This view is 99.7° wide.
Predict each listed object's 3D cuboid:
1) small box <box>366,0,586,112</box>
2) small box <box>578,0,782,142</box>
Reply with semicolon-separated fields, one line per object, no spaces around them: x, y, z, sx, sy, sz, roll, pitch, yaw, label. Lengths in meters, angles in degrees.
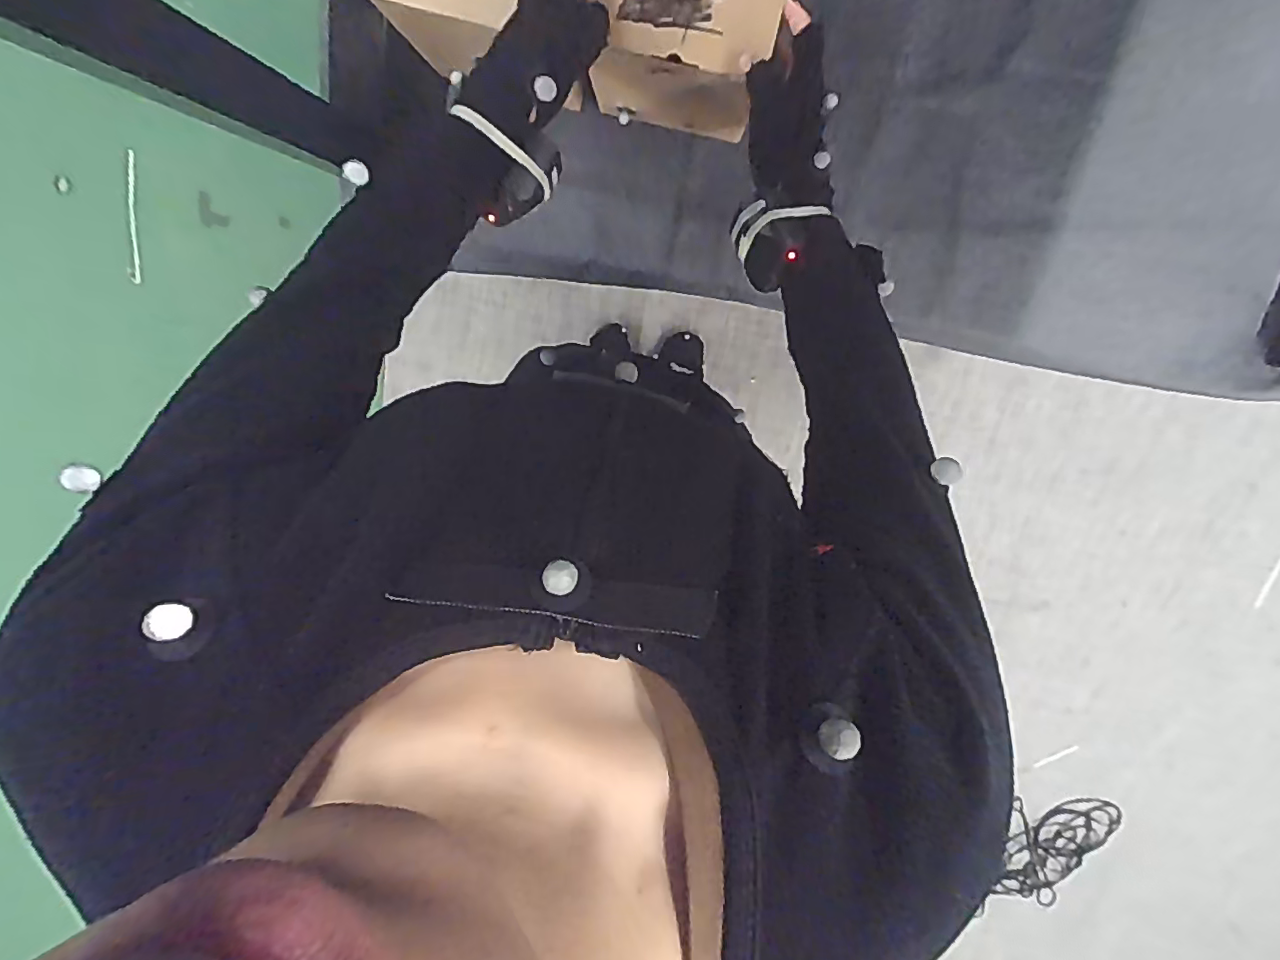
-0.132;-0.486;0.511;0.168;0.176;0.179;13;106;-3;small box
0.047;-0.452;0.514;0.168;0.176;0.179;12;106;-1;small box
